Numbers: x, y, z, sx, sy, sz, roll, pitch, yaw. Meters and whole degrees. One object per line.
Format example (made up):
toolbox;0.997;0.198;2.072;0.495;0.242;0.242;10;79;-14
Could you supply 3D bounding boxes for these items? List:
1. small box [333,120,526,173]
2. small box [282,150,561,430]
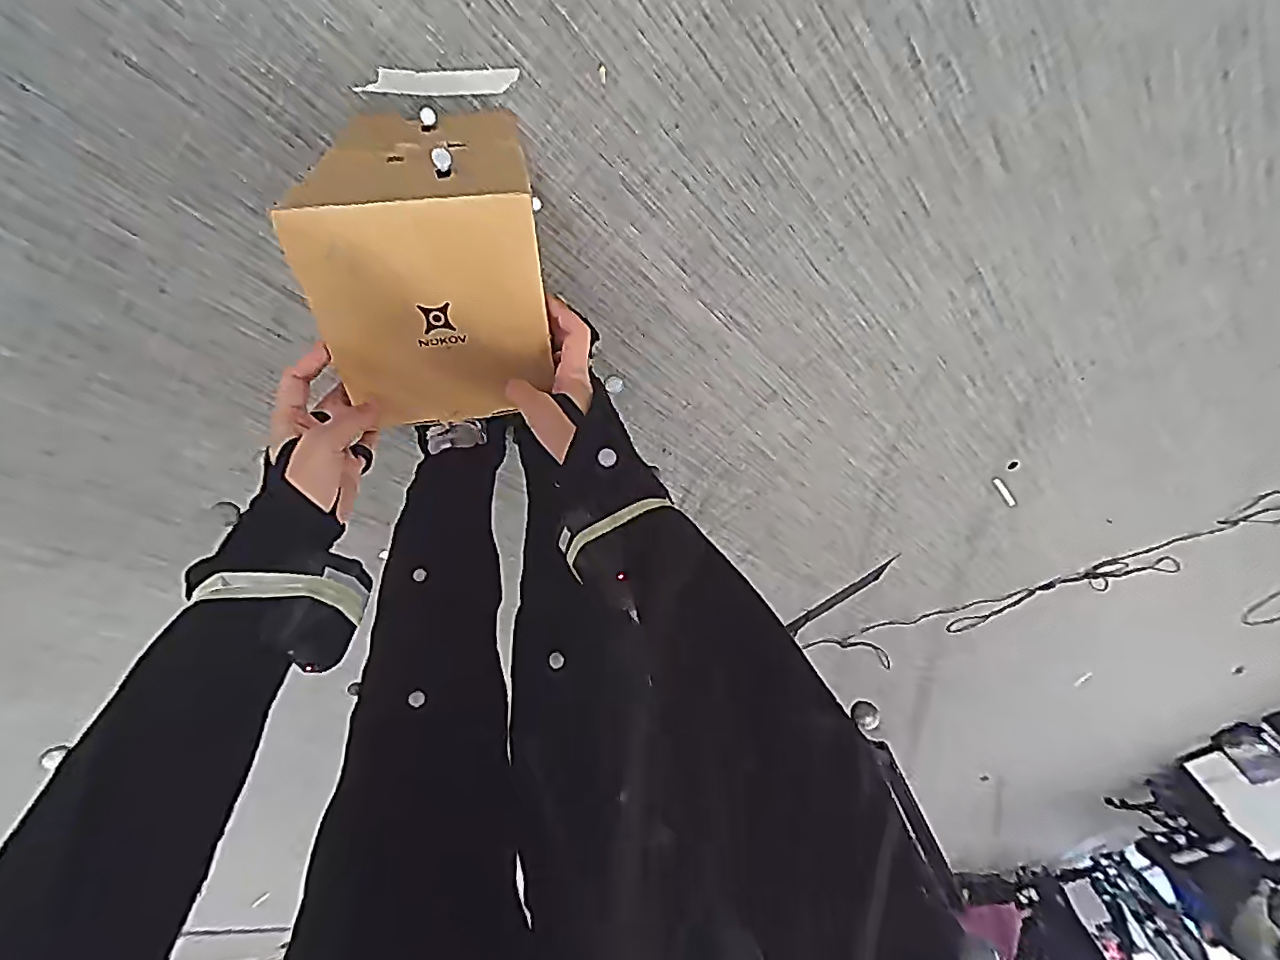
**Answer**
small box;-0.202;-0.277;0.586;0.168;0.176;0.179;-9;133;-8
small box;-0.167;-0.170;0.467;0.168;0.176;0.179;-9;134;-8
